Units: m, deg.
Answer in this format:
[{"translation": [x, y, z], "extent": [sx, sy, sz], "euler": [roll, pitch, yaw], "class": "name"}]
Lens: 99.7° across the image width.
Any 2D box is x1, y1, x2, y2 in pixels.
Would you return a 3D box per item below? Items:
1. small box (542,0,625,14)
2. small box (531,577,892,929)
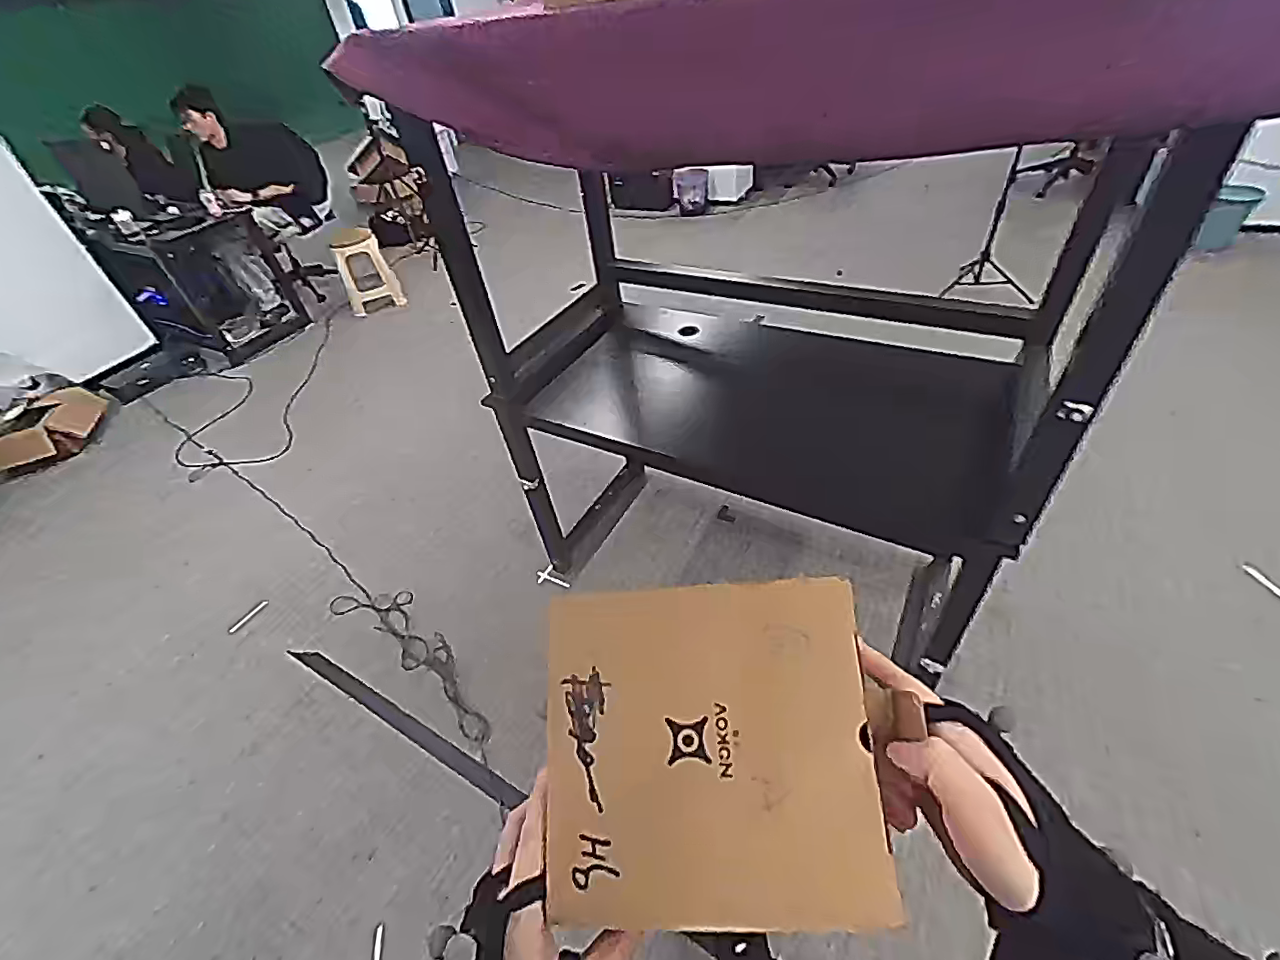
[{"translation": [-0.051, -0.826, 0.810], "extent": [0.179, 0.176, 0.168], "euler": [14, 47, 24], "class": "small box"}, {"translation": [0.039, 0.159, 0.358], "extent": [0.179, 0.176, 0.168], "euler": [-4, 71, 7], "class": "small box"}]
